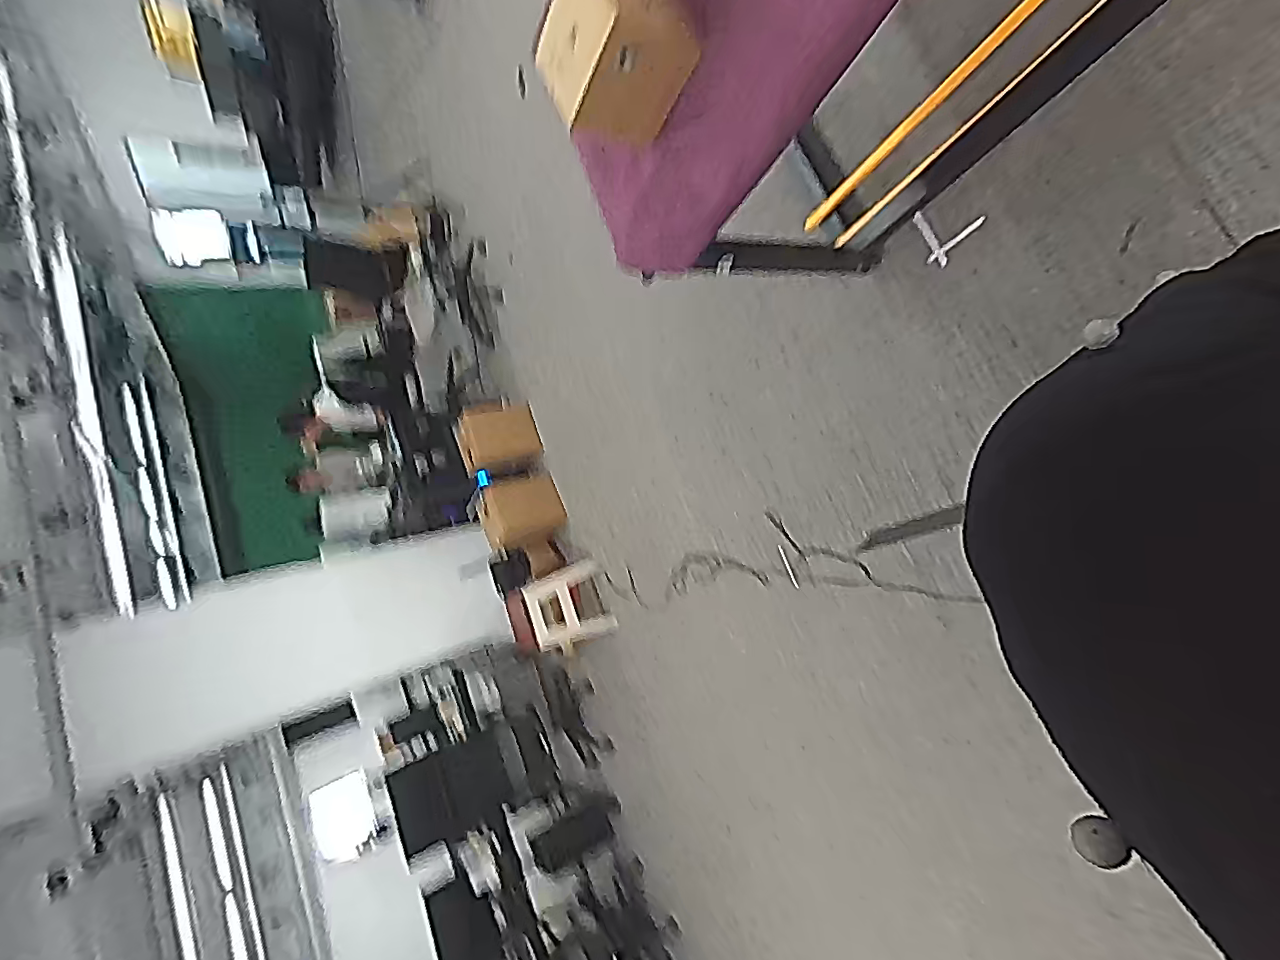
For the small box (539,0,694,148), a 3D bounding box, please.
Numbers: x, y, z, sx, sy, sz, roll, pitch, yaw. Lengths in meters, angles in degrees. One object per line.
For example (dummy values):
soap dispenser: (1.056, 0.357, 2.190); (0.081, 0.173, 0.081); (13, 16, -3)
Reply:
small box: (-0.034, -0.678, 0.869); (0.179, 0.176, 0.168); (-41, 67, 51)
